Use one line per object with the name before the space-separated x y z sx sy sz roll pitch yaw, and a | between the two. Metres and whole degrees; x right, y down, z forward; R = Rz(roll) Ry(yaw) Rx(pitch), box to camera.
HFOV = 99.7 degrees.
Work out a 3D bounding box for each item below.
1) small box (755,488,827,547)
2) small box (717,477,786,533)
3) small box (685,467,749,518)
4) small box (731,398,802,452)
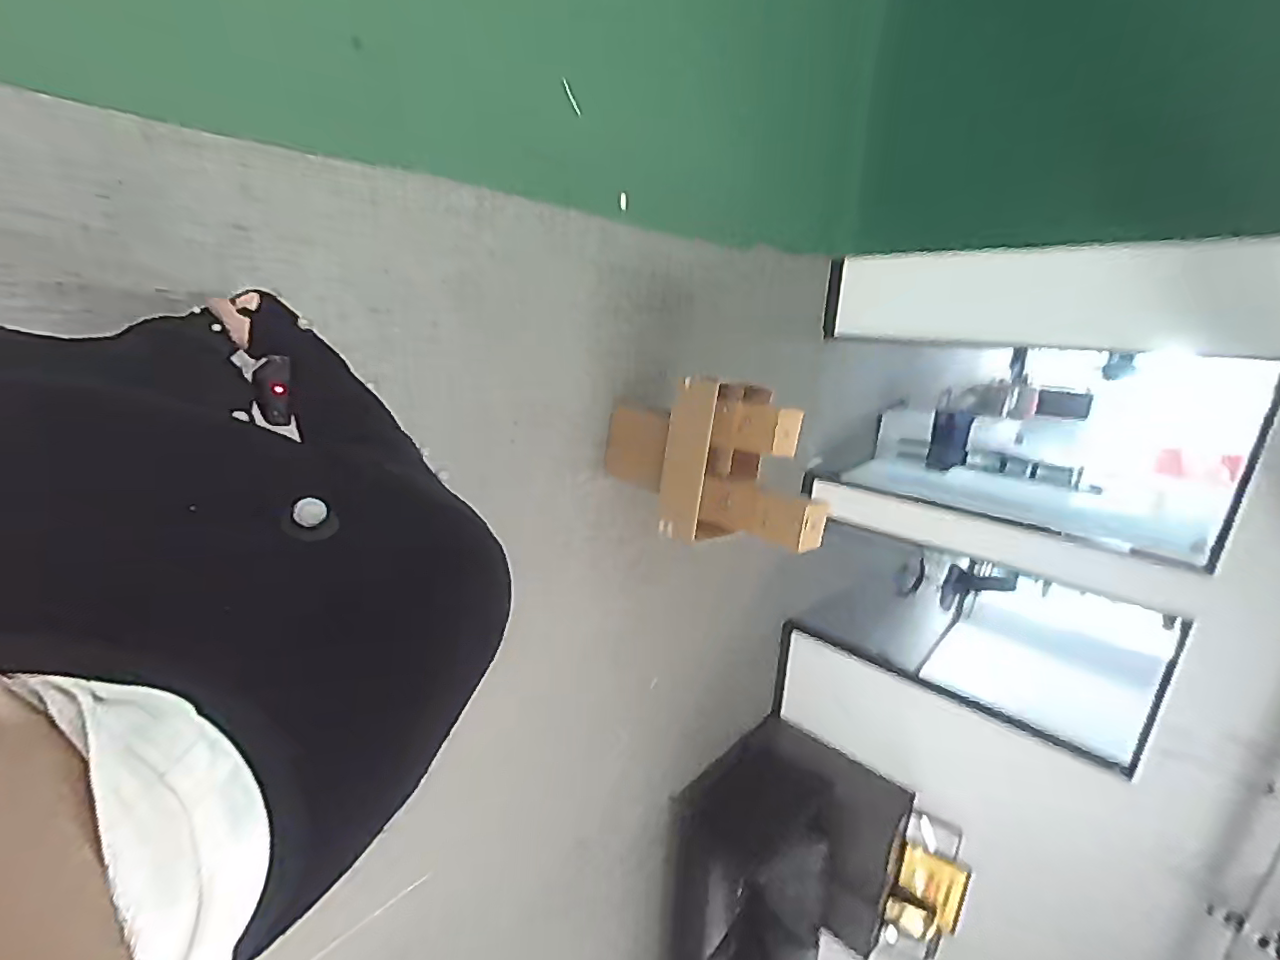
small box | 0.532 0.126 1.907 0.179 0.176 0.168 -4 105 -47
small box | 0.413 0.086 2.013 0.179 0.176 0.168 -3 105 -47
small box | 0.299 0.047 2.122 0.179 0.176 0.168 -3 106 -48
small box | 0.457 -0.200 1.960 0.179 0.176 0.168 -3 106 -47
